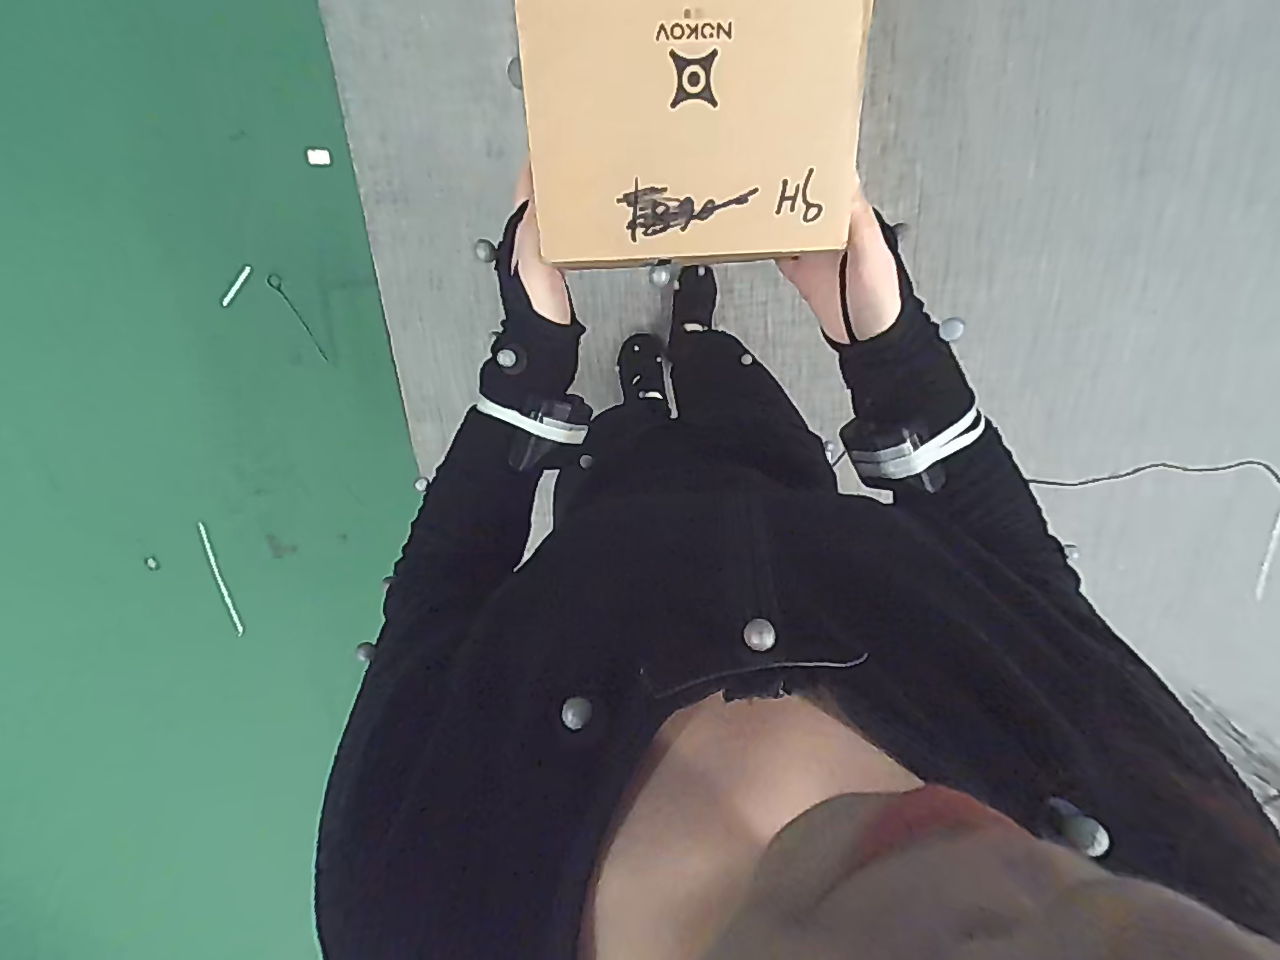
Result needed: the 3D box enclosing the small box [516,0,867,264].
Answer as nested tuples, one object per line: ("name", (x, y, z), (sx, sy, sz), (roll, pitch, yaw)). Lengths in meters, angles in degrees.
("small box", (0.019, -0.231, 0.328), (0.168, 0.176, 0.179), (-3, 110, -2))
